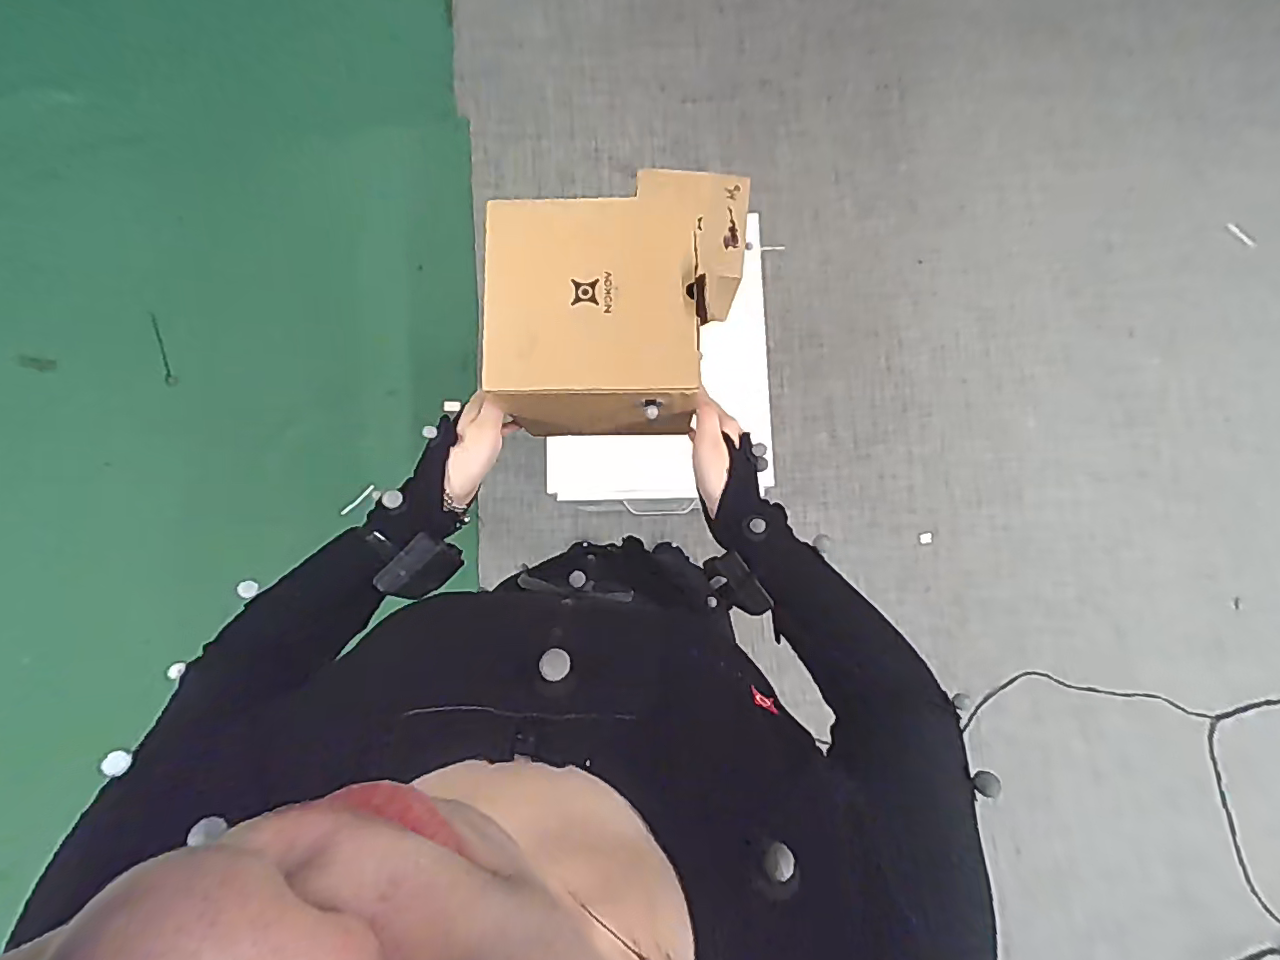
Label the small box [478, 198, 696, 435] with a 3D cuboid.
[{"bbox_3d":[-0.041,-0.140,0.517,0.179,0.176,0.168,-1,81,0],"label":"small box"}]

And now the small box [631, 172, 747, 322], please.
[{"bbox_3d":[0.071,-0.377,0.900,0.179,0.176,0.168,5,84,1],"label":"small box"}]
